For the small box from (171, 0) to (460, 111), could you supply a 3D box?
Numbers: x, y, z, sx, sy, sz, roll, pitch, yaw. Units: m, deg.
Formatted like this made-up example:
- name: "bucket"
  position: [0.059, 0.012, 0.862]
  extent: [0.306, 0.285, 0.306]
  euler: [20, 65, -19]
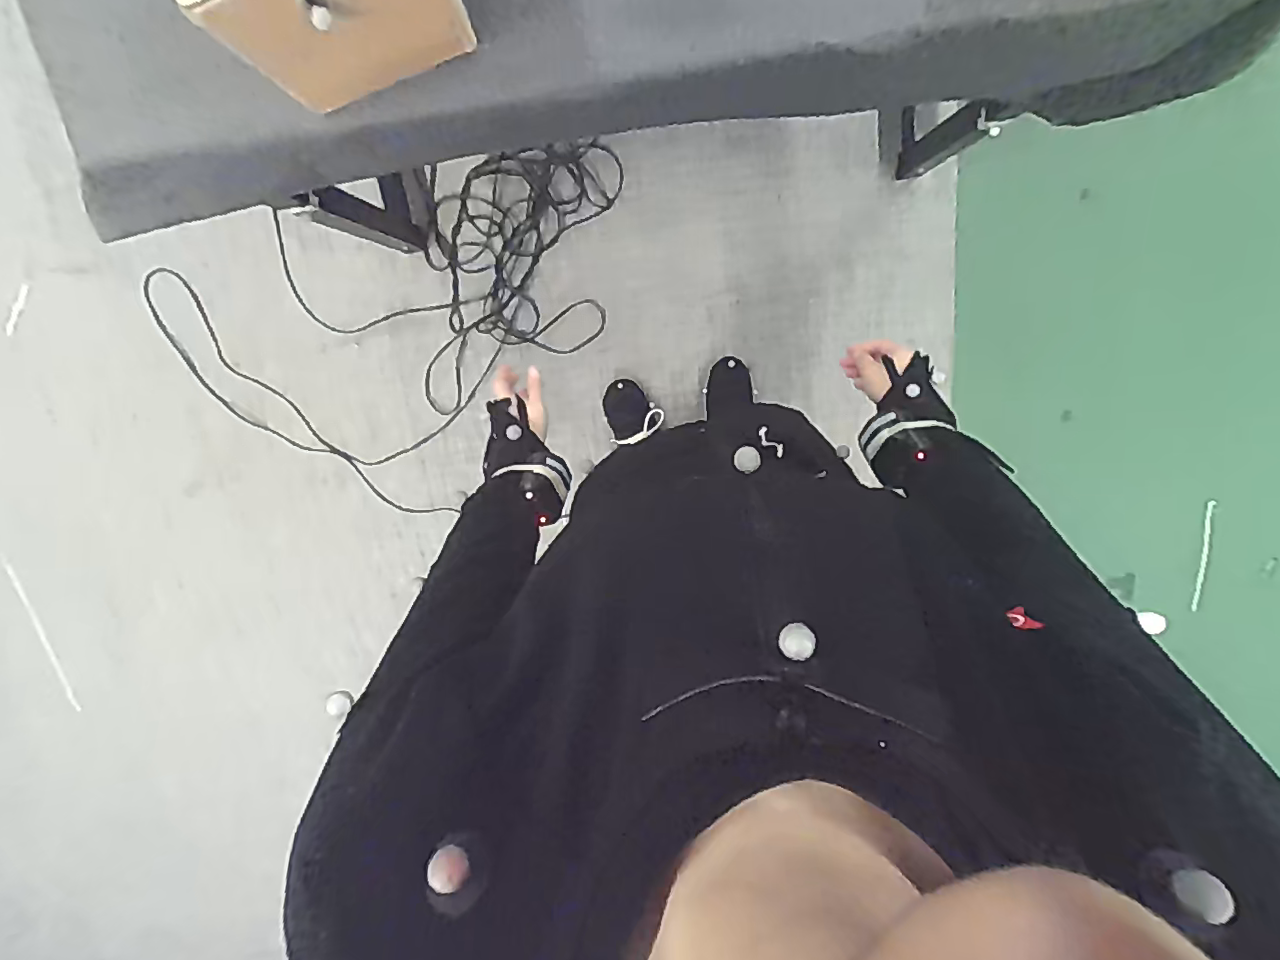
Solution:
- name: "small box"
  position: [-0.265, -0.440, 0.430]
  extent: [0.179, 0.176, 0.168]
  euler: [-18, 102, 5]
